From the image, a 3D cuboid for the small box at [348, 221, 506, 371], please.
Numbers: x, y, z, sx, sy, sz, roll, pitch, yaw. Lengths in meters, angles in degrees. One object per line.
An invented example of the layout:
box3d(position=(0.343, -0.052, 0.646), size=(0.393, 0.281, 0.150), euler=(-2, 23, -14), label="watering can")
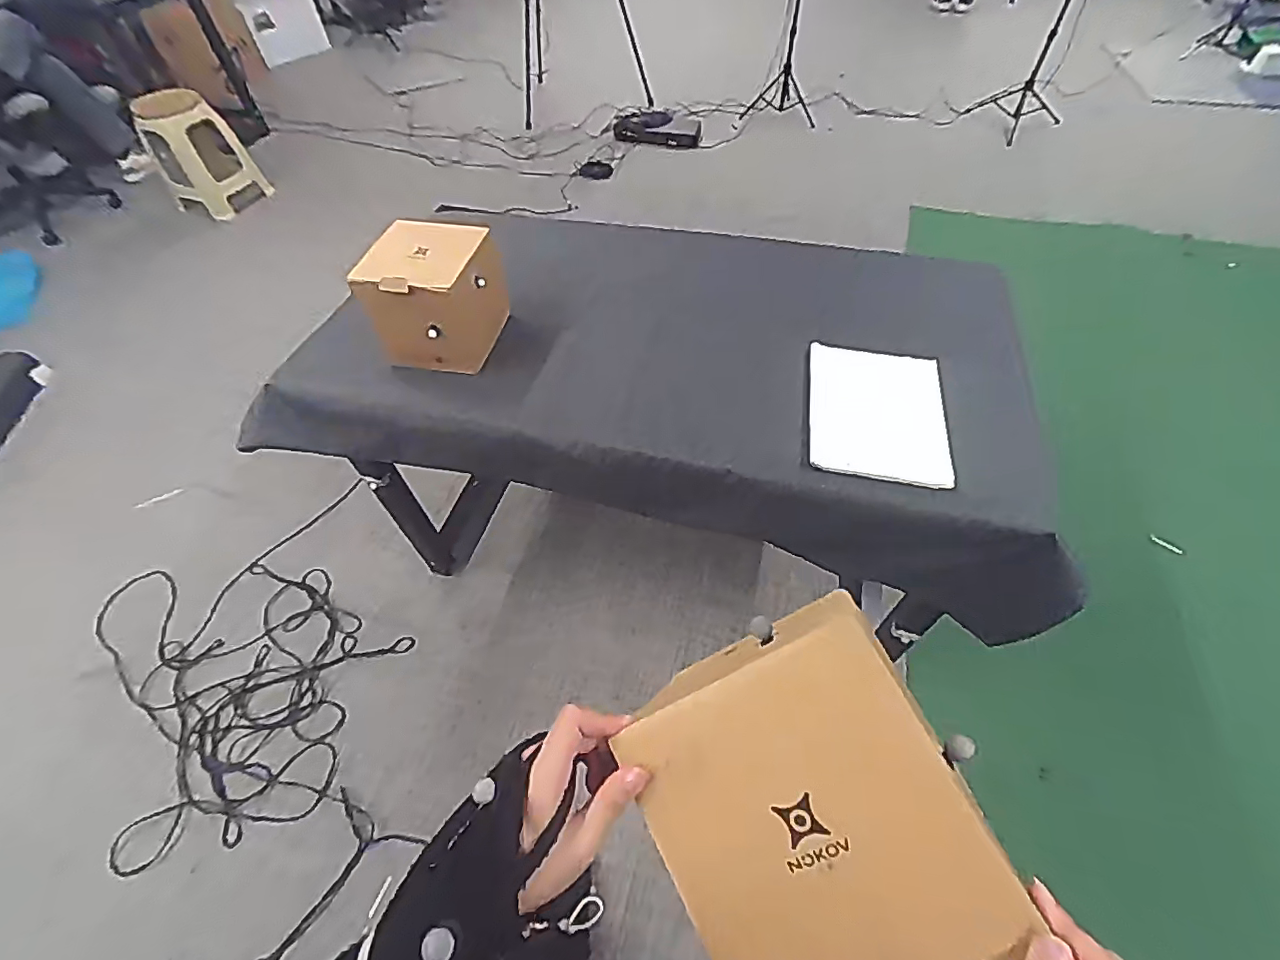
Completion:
box3d(position=(-0.337, -0.304, 0.901), size=(0.168, 0.176, 0.179), euler=(8, 53, 6), label="small box")
